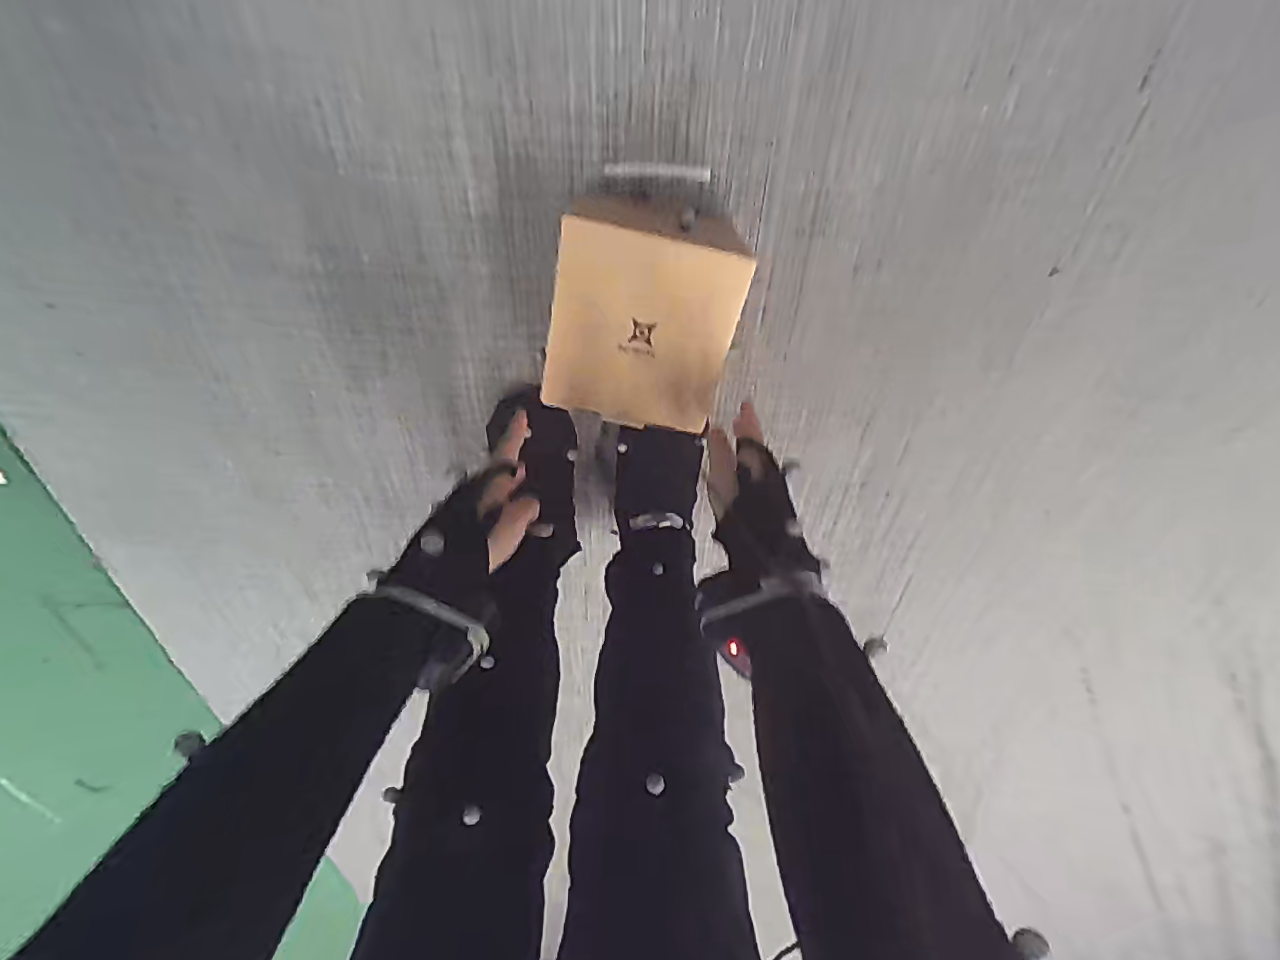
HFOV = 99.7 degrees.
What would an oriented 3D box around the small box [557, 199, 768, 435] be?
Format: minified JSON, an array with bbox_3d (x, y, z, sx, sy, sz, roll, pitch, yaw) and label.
[{"bbox_3d":[0.014,-0.176,0.570,0.168,0.176,0.179,11,126,-7],"label":"small box"}]
